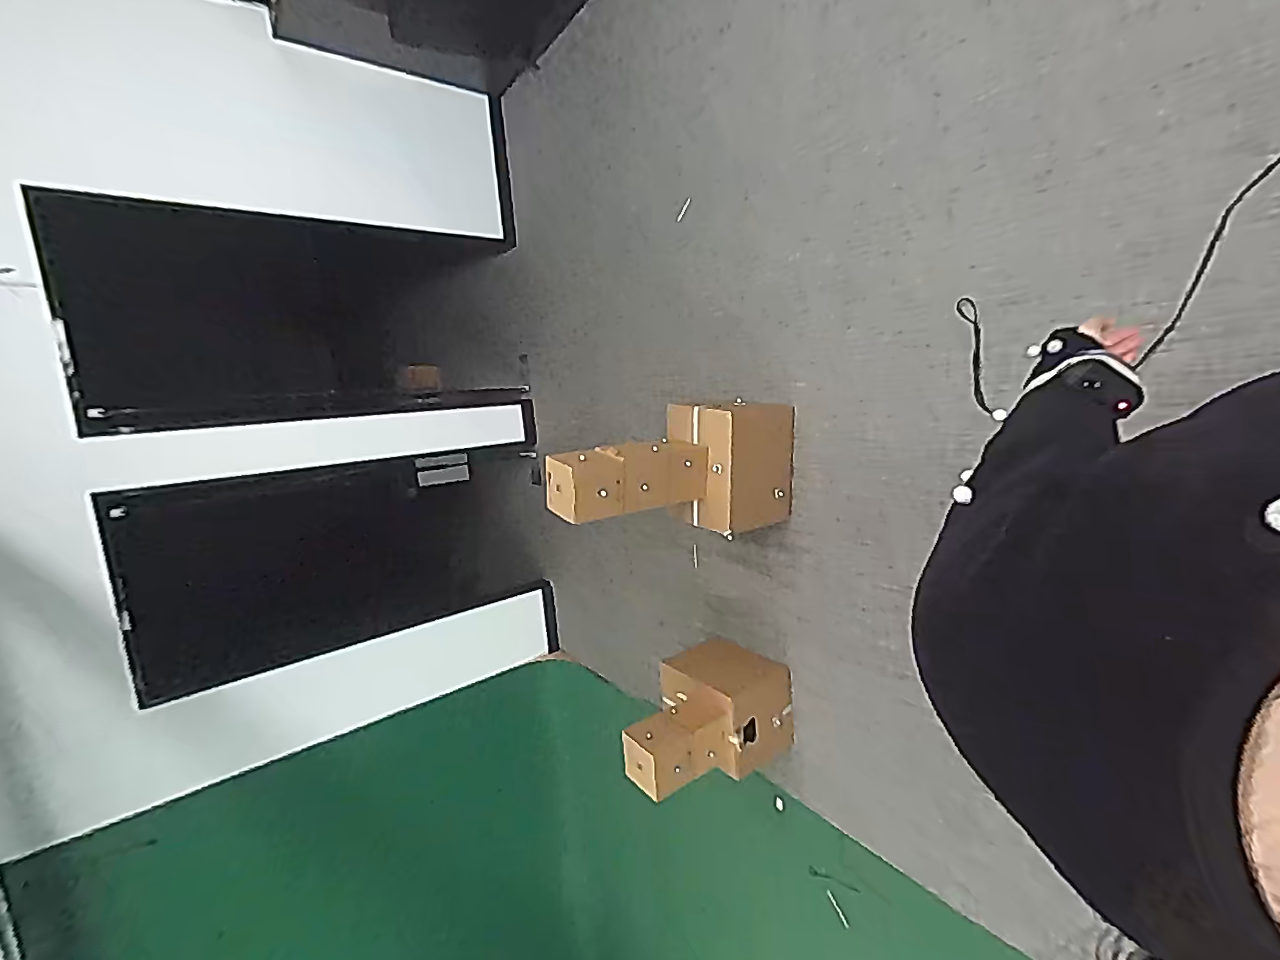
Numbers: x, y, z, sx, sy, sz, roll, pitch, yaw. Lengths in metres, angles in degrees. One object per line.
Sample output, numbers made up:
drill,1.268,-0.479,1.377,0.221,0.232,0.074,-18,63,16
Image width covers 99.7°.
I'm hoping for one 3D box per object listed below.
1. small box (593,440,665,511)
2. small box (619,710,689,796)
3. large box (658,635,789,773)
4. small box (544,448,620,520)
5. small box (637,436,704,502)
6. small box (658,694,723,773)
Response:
small box,-0.035,-0.021,1.689,0.168,0.176,0.179,24,118,51
small box,0.051,0.902,1.809,0.179,0.176,0.168,10,106,53
large box,0.324,0.852,2.122,0.408,0.320,0.320,6,104,54
small box,-0.170,0.005,1.599,0.179,0.176,0.168,22,116,51
small box,0.096,-0.043,1.786,0.168,0.176,0.179,22,116,51
small box,0.182,0.884,1.908,0.179,0.176,0.168,10,107,53
